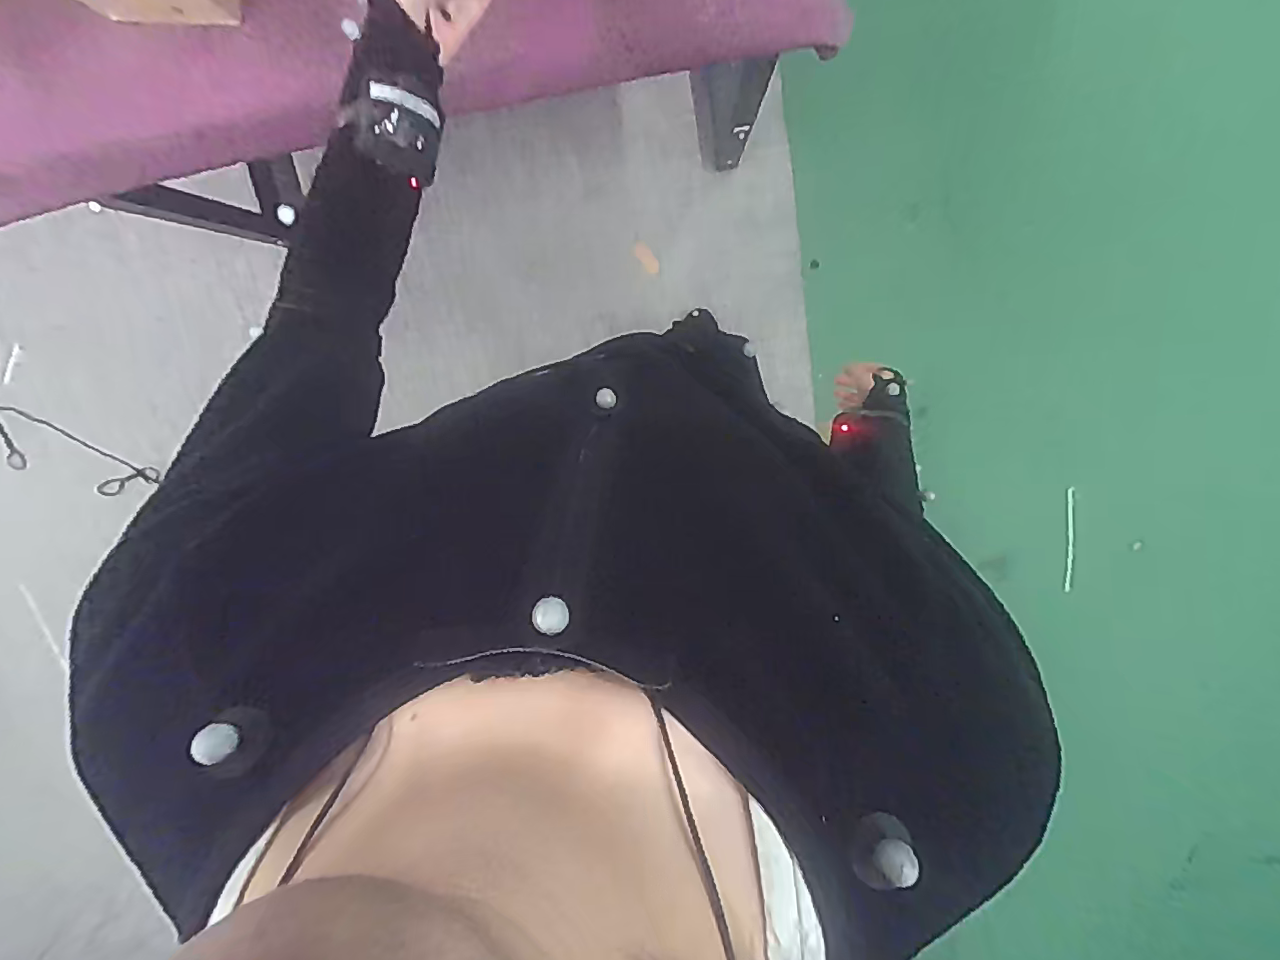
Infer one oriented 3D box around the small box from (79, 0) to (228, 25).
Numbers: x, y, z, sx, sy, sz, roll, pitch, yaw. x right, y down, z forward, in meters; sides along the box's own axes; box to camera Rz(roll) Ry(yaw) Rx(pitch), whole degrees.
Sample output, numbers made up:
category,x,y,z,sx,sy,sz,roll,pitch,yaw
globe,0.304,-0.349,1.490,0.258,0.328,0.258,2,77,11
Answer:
category,x,y,z,sx,sy,sz,roll,pitch,yaw
small box,-0.565,-0.611,0.553,0.168,0.176,0.179,4,103,2
